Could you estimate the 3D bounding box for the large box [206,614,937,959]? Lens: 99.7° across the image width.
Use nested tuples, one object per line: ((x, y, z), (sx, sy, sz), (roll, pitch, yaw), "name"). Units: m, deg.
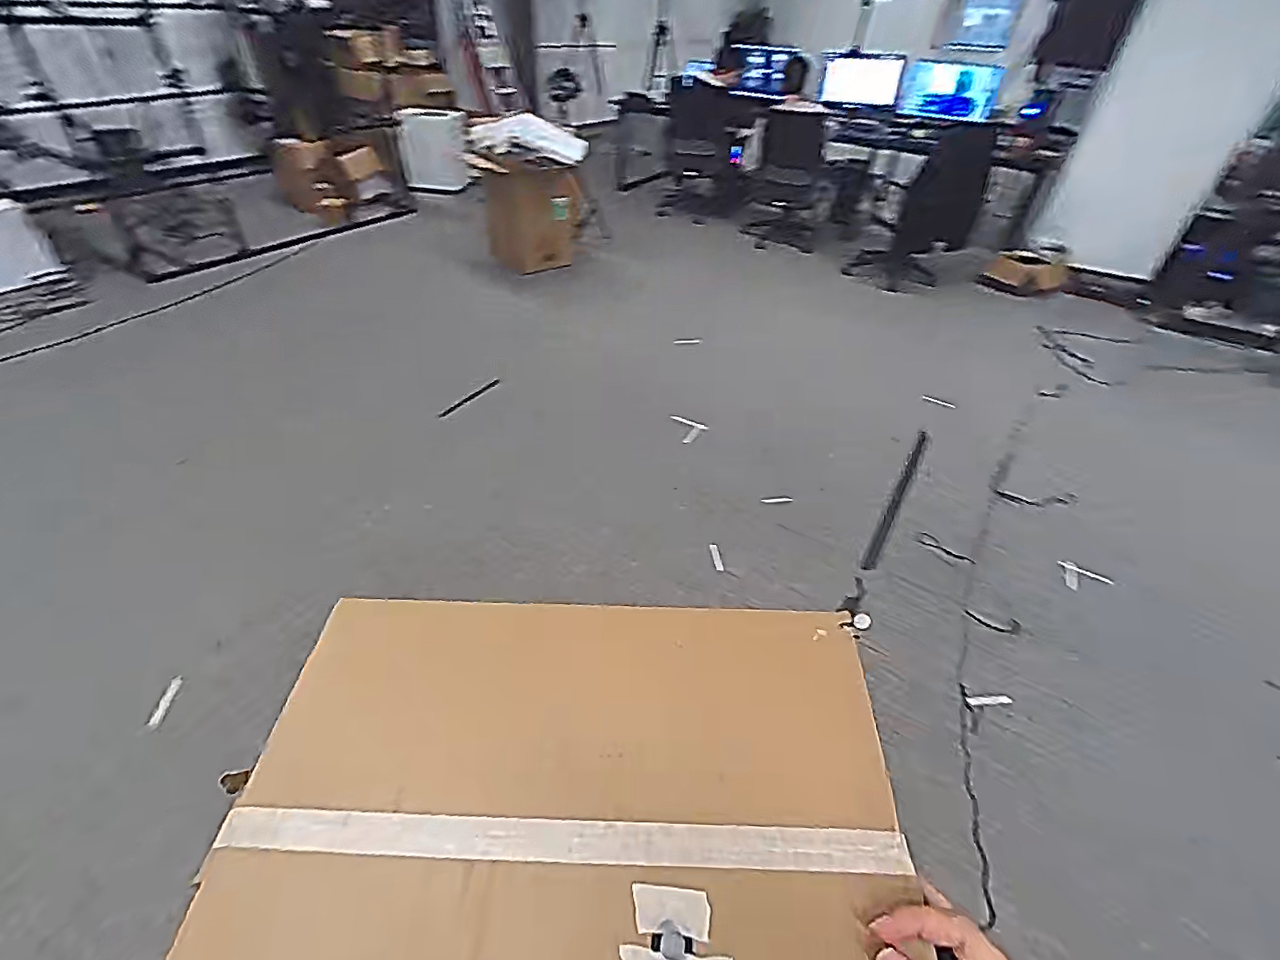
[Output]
((-0.035, 0.326, 0.435), (0.408, 0.320, 0.320), (2, 48, 2), "large box")
